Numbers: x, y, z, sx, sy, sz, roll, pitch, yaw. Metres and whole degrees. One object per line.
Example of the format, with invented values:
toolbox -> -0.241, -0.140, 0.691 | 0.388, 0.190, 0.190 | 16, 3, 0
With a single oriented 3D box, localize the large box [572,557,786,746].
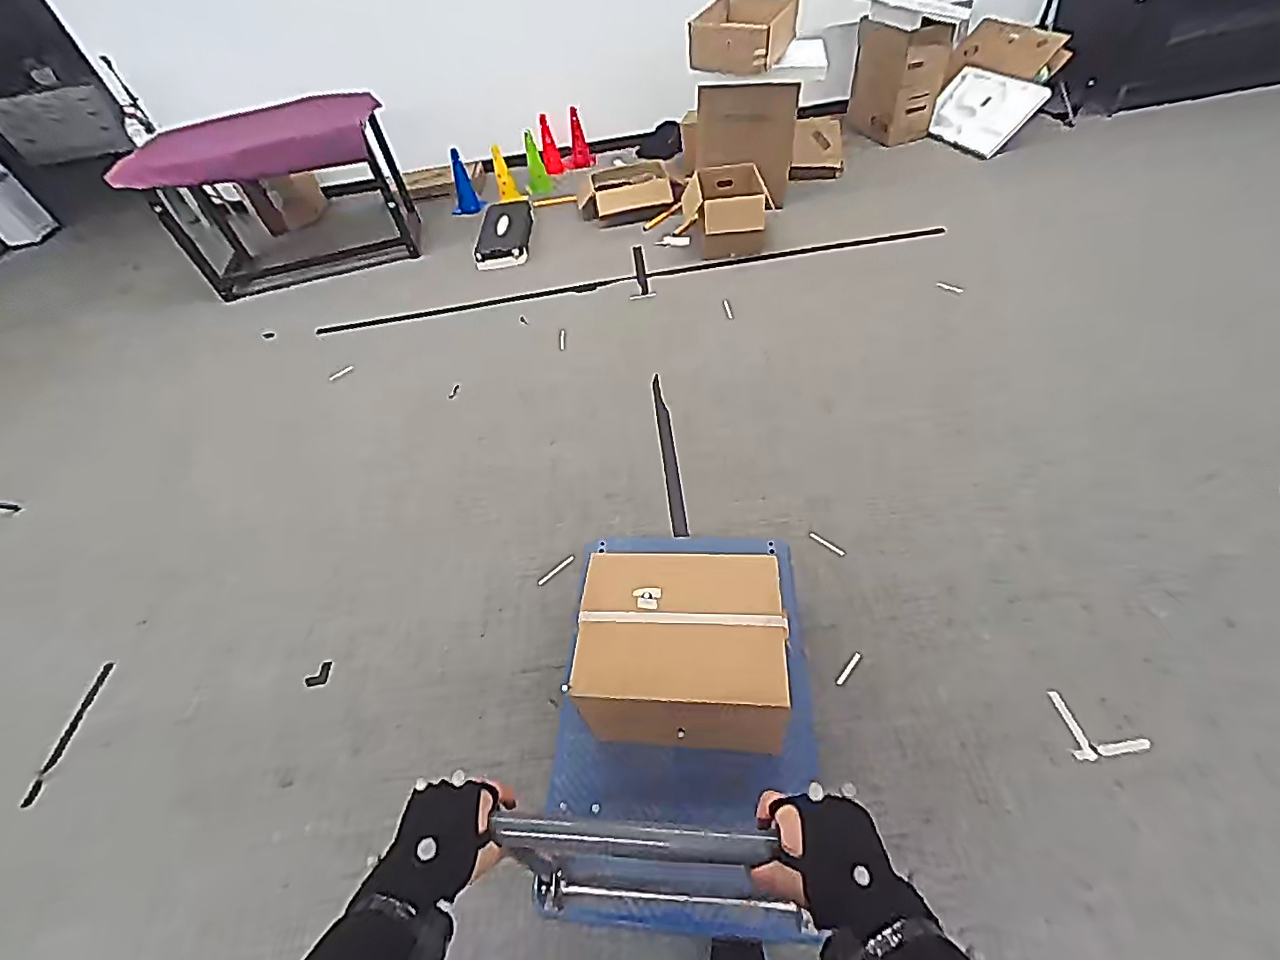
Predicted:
large box -> 0.098, 0.387, 1.205 | 0.408, 0.320, 0.320 | -2, 49, 9
